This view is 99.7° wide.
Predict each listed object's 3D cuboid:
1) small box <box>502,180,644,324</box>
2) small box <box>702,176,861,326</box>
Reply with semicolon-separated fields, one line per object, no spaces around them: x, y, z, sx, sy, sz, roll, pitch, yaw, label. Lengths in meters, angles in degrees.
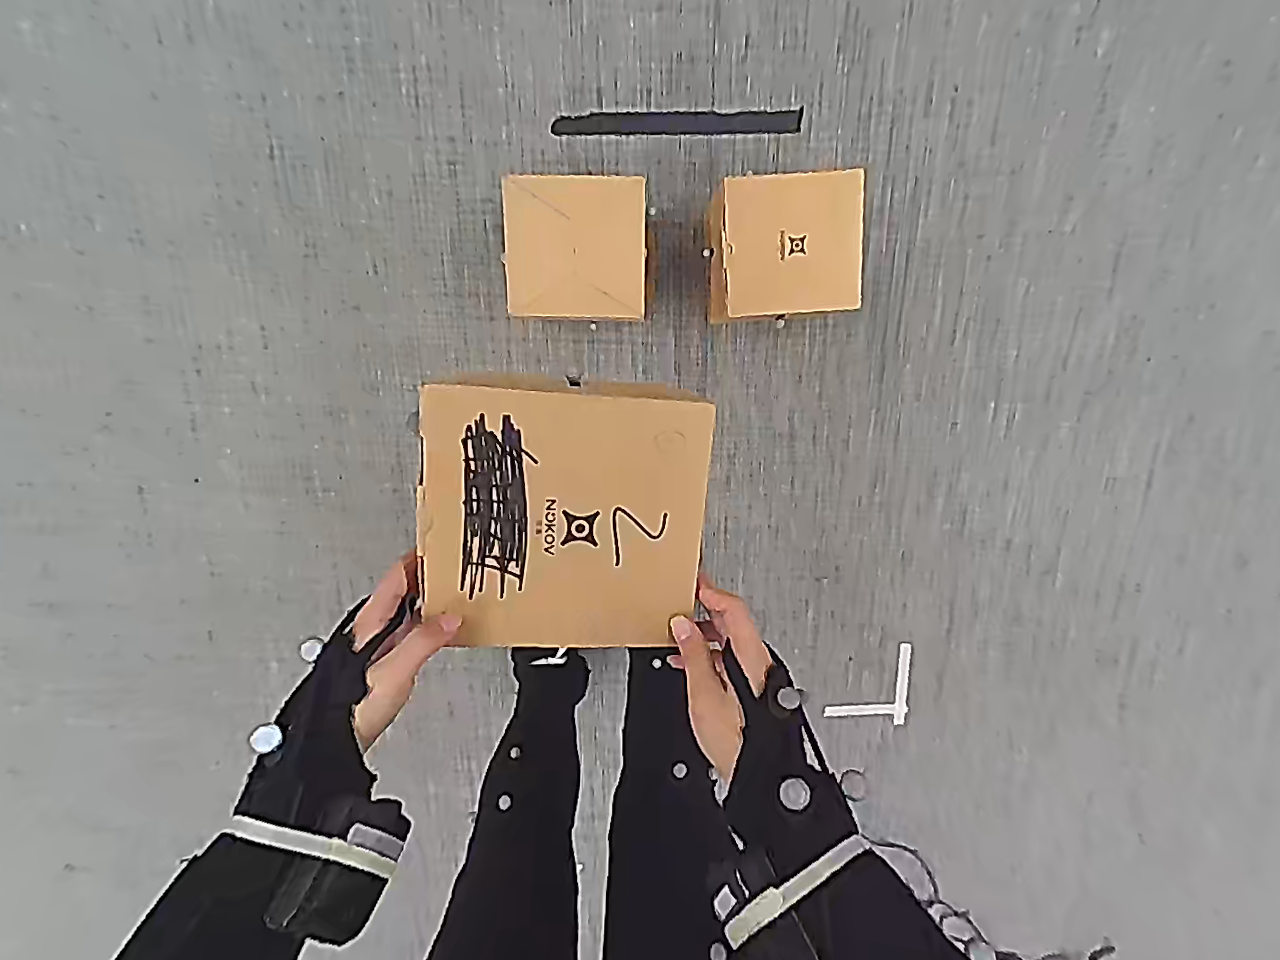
-0.082;-0.304;0.752;0.179;0.176;0.168;0;104;-1;small box
0.188;-0.309;0.759;0.179;0.176;0.168;-5;104;0;small box
